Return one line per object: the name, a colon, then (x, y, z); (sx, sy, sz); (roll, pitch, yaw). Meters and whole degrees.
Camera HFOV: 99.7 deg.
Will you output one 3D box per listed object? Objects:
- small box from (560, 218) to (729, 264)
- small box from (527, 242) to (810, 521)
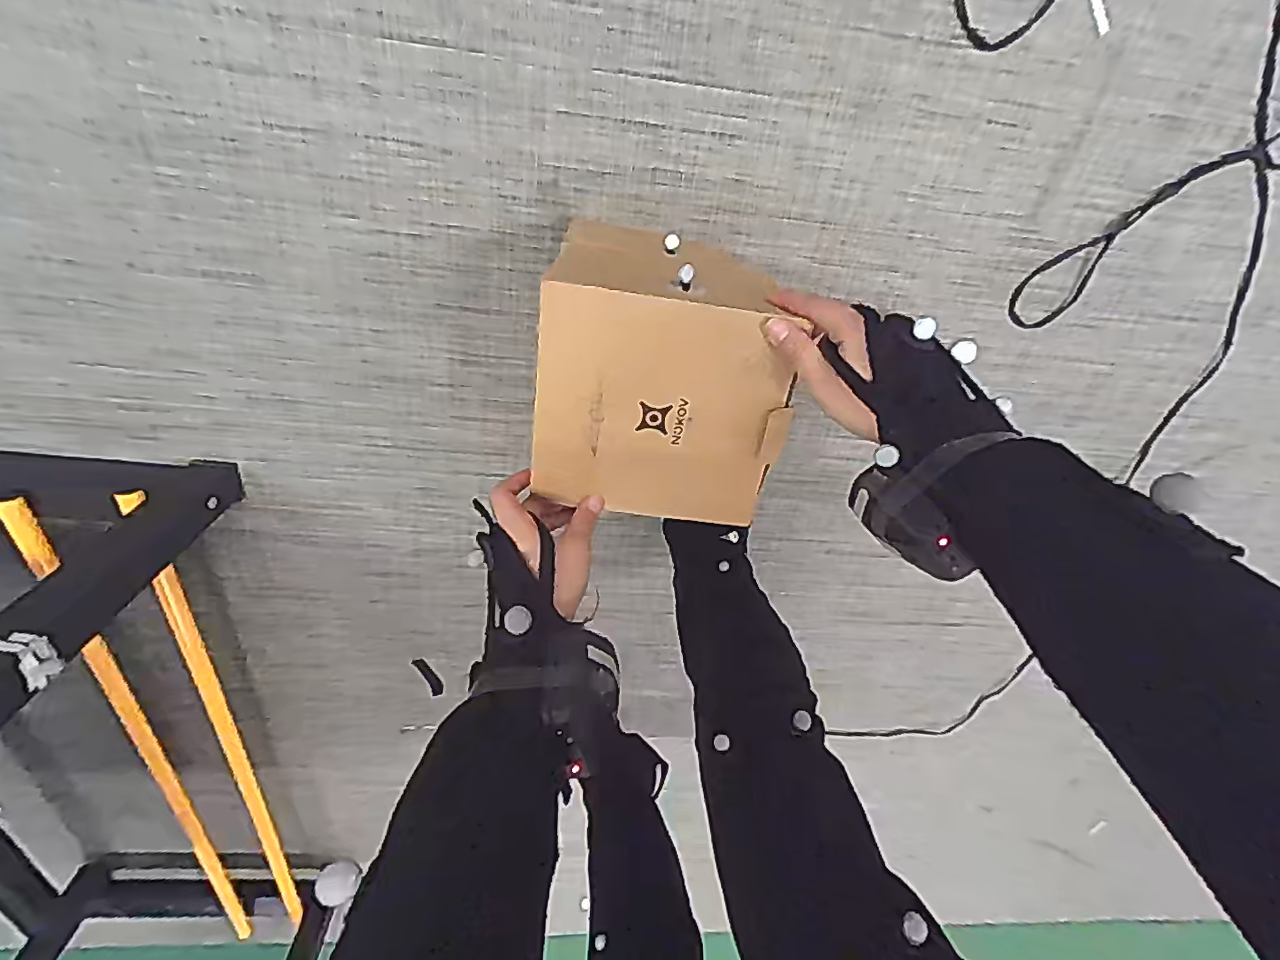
small box: (-0.002, -0.174, 0.586); (0.179, 0.176, 0.168); (7, 122, -8)
small box: (0.011, -0.088, 0.445); (0.179, 0.176, 0.168); (7, 121, -5)
